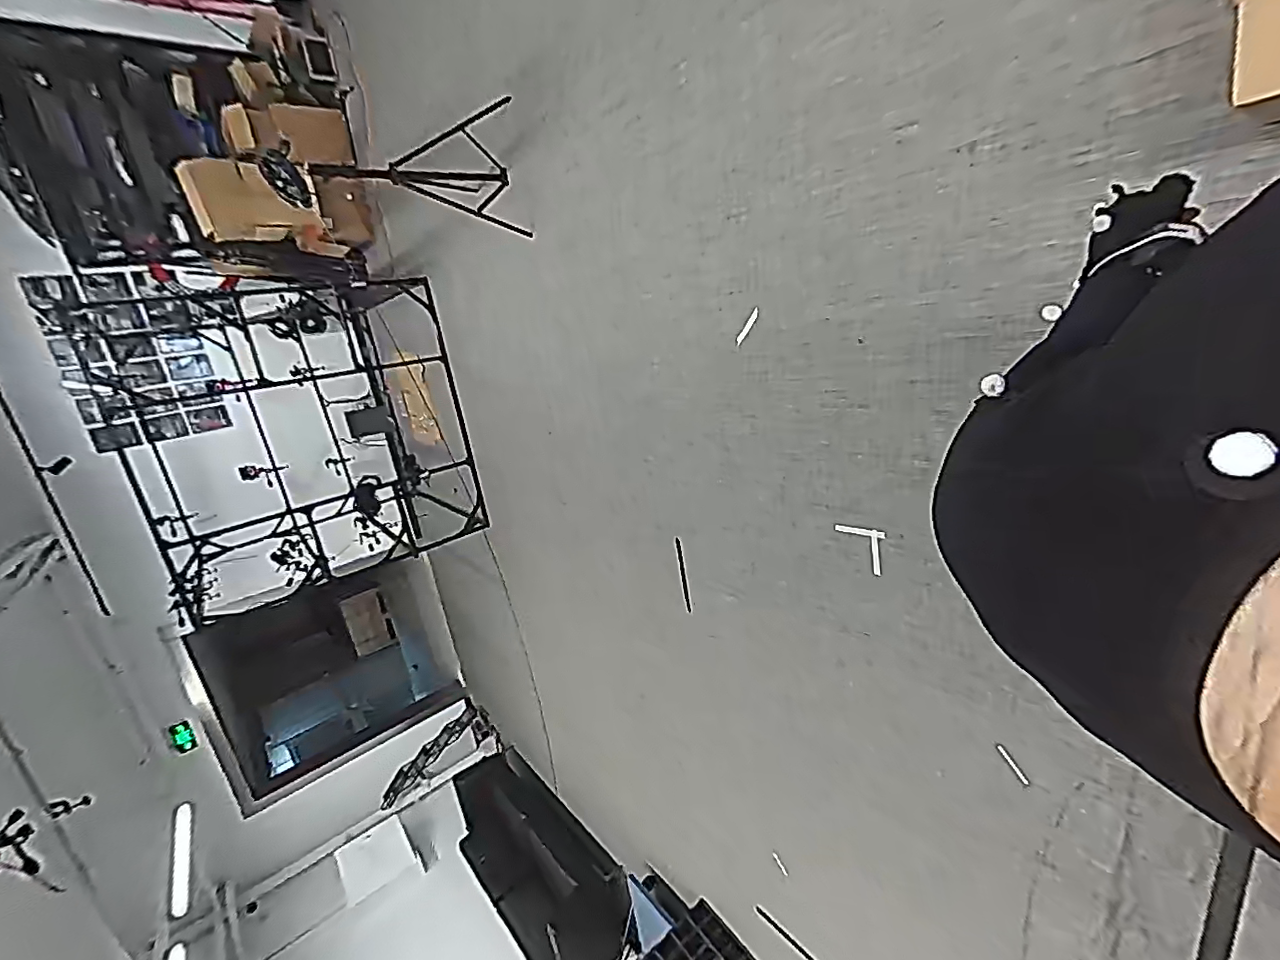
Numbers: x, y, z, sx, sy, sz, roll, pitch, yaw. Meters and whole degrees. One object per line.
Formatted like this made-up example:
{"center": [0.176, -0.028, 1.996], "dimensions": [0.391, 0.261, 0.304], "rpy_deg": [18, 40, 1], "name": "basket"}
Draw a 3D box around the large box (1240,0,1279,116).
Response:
{"center": [1.041, -0.709, 0.651], "dimensions": [0.408, 0.320, 0.320], "rpy_deg": [7, 113, 51], "name": "large box"}
